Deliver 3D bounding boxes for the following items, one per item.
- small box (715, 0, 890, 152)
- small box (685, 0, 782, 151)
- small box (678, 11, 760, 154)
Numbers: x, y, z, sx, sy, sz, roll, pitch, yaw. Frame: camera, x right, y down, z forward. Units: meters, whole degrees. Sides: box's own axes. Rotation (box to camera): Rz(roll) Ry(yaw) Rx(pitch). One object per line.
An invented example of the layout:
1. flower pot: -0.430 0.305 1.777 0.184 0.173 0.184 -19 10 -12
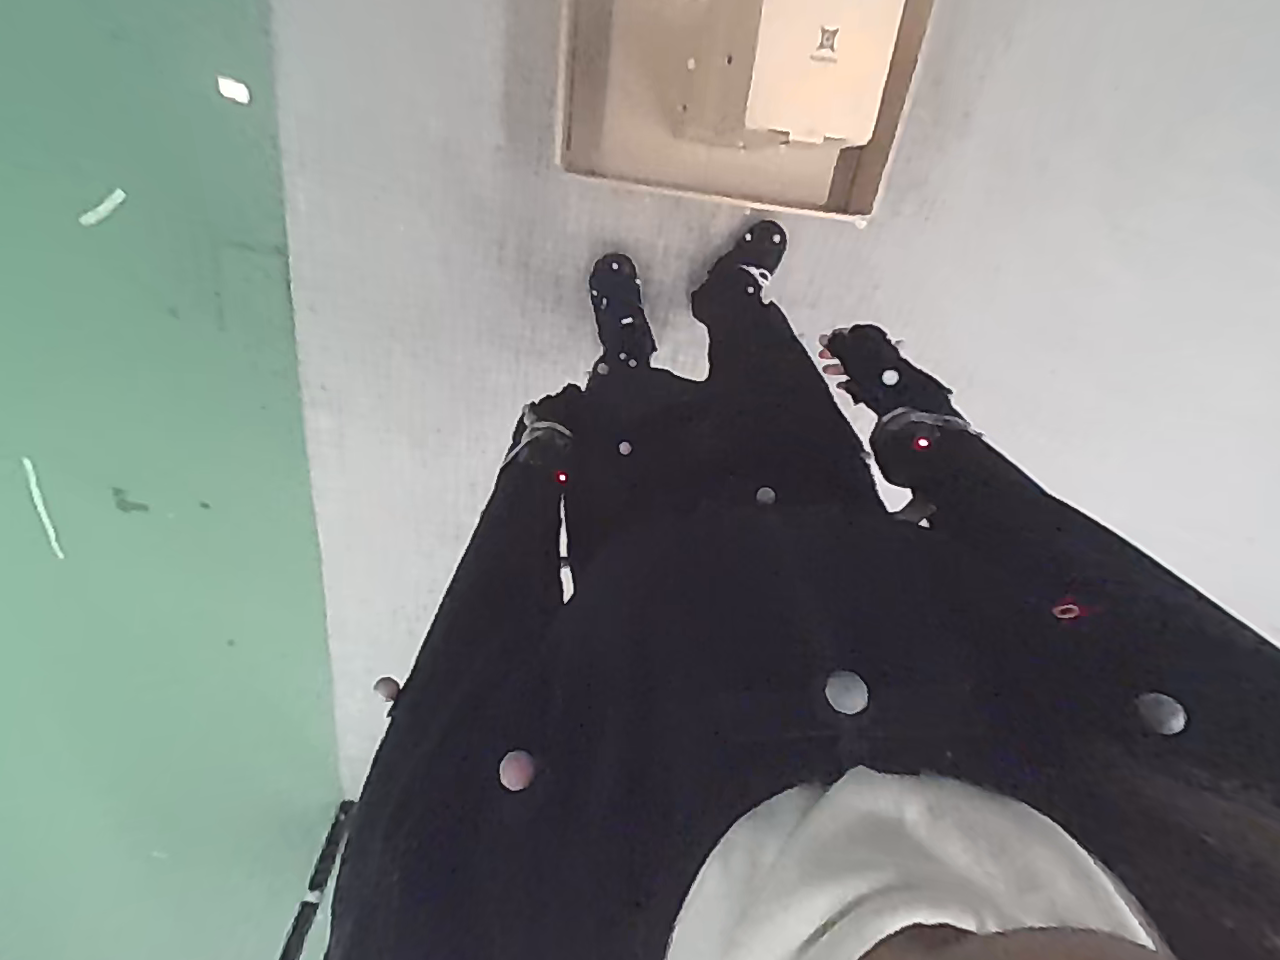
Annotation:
1. small box: 0.202 -0.549 0.725 0.168 0.176 0.179 1 118 -5
2. small box: 0.180 -0.634 0.860 0.179 0.176 0.168 5 117 -8
3. small box: 0.168 -0.709 0.987 0.168 0.176 0.179 4 117 -8
